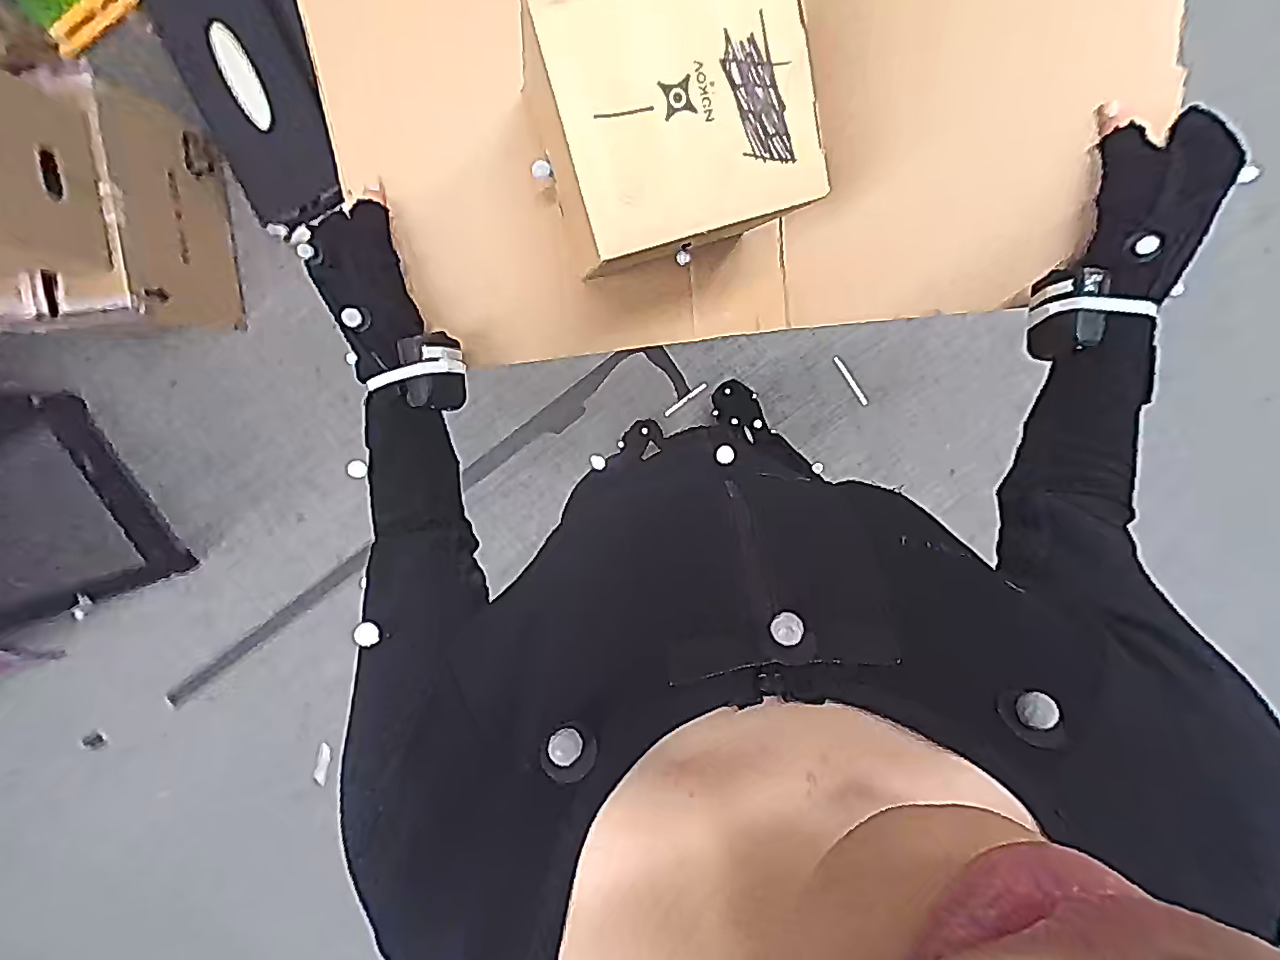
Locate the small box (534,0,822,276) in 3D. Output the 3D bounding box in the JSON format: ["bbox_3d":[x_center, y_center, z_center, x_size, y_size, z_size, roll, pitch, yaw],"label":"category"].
[{"bbox_3d":[0.019,-0.275,0.441,0.179,0.176,0.168,-17,108,-5],"label":"small box"}]
